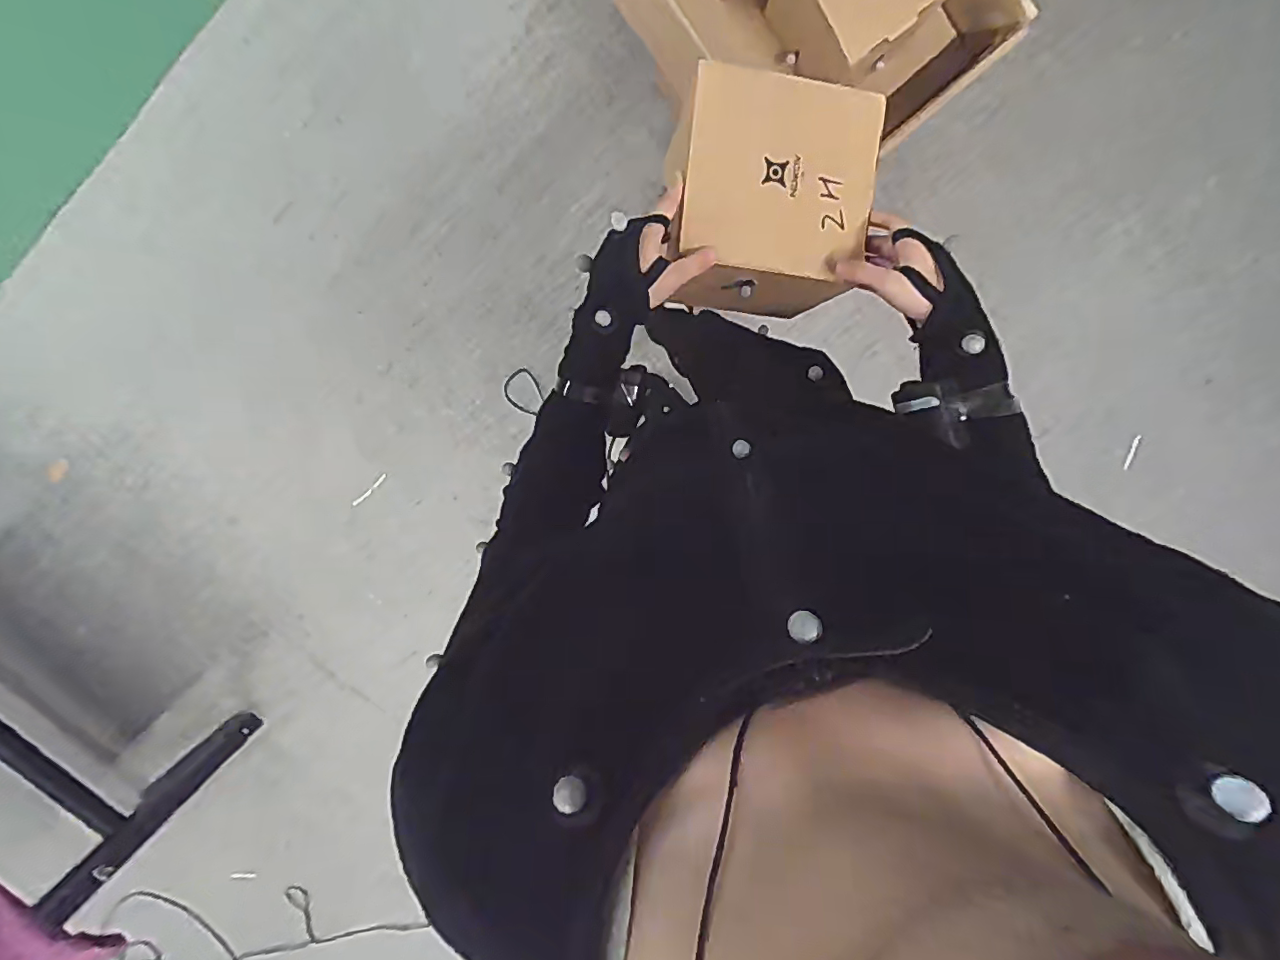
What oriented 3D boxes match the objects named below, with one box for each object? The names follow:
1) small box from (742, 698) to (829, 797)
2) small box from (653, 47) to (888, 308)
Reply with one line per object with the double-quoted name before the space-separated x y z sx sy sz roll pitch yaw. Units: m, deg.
"small box" 0.431 0.801 1.636 0.179 0.176 0.168 -40 100 10
"small box" 0.114 -0.283 0.550 0.179 0.176 0.168 6 96 -8
